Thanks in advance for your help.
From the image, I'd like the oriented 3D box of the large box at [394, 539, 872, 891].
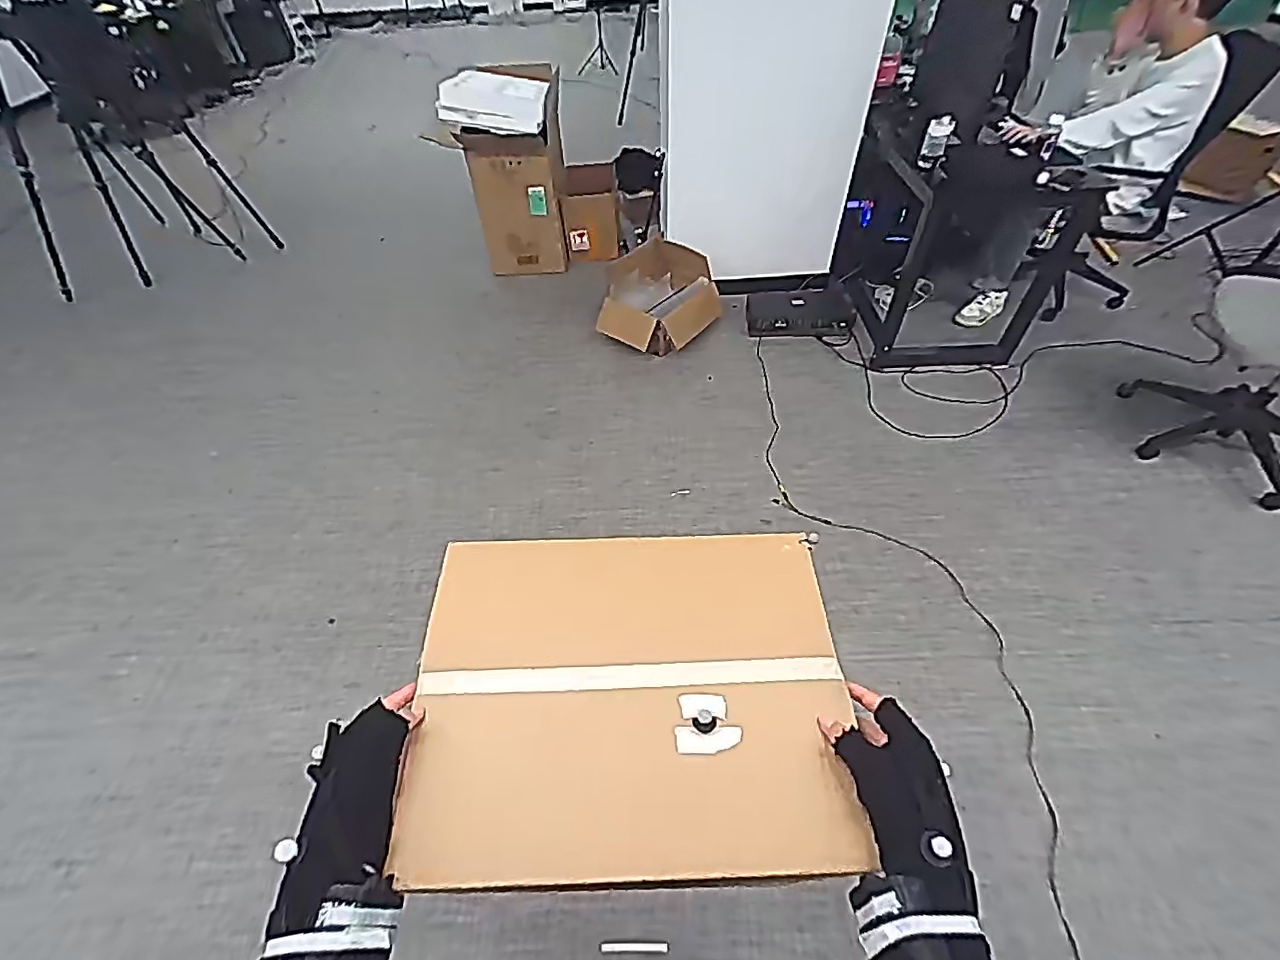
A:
[{"bbox_3d":[-0.010,0.287,0.648,0.408,0.320,0.320,-1,52,-1],"label":"large box"}]
